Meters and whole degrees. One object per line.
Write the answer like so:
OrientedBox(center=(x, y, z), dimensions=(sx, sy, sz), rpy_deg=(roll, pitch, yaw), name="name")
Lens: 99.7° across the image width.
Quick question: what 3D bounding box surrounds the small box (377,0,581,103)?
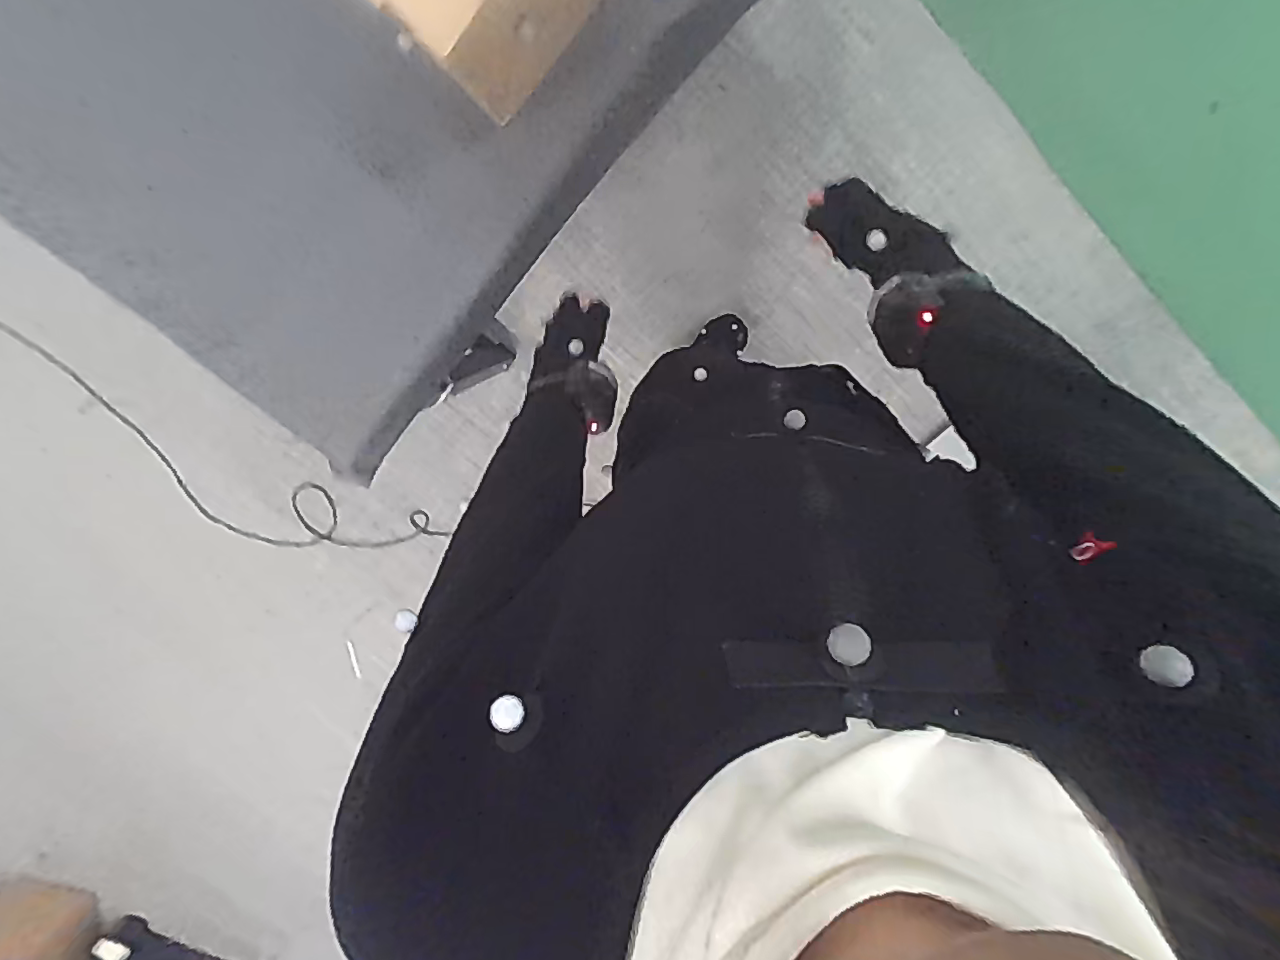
OrientedBox(center=(-0.152, -0.468, 0.452), dimensions=(0.168, 0.176, 0.179), rpy_deg=(44, 107, -11), name="small box")
